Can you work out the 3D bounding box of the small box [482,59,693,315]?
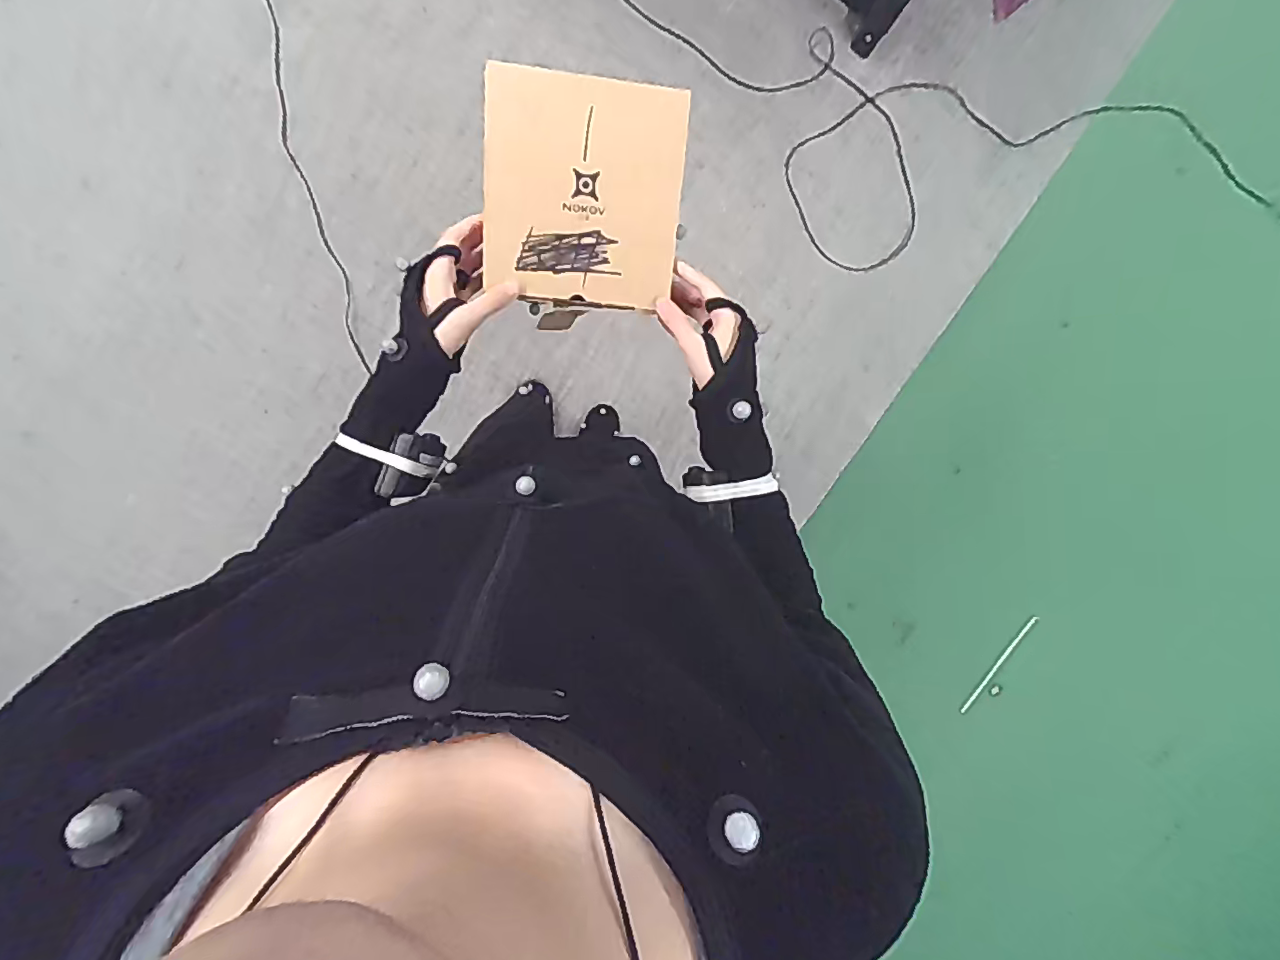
[{"bbox_3d":[-0.054,-0.262,0.532,0.168,0.176,0.179,5,105,-8],"label":"small box"}]
